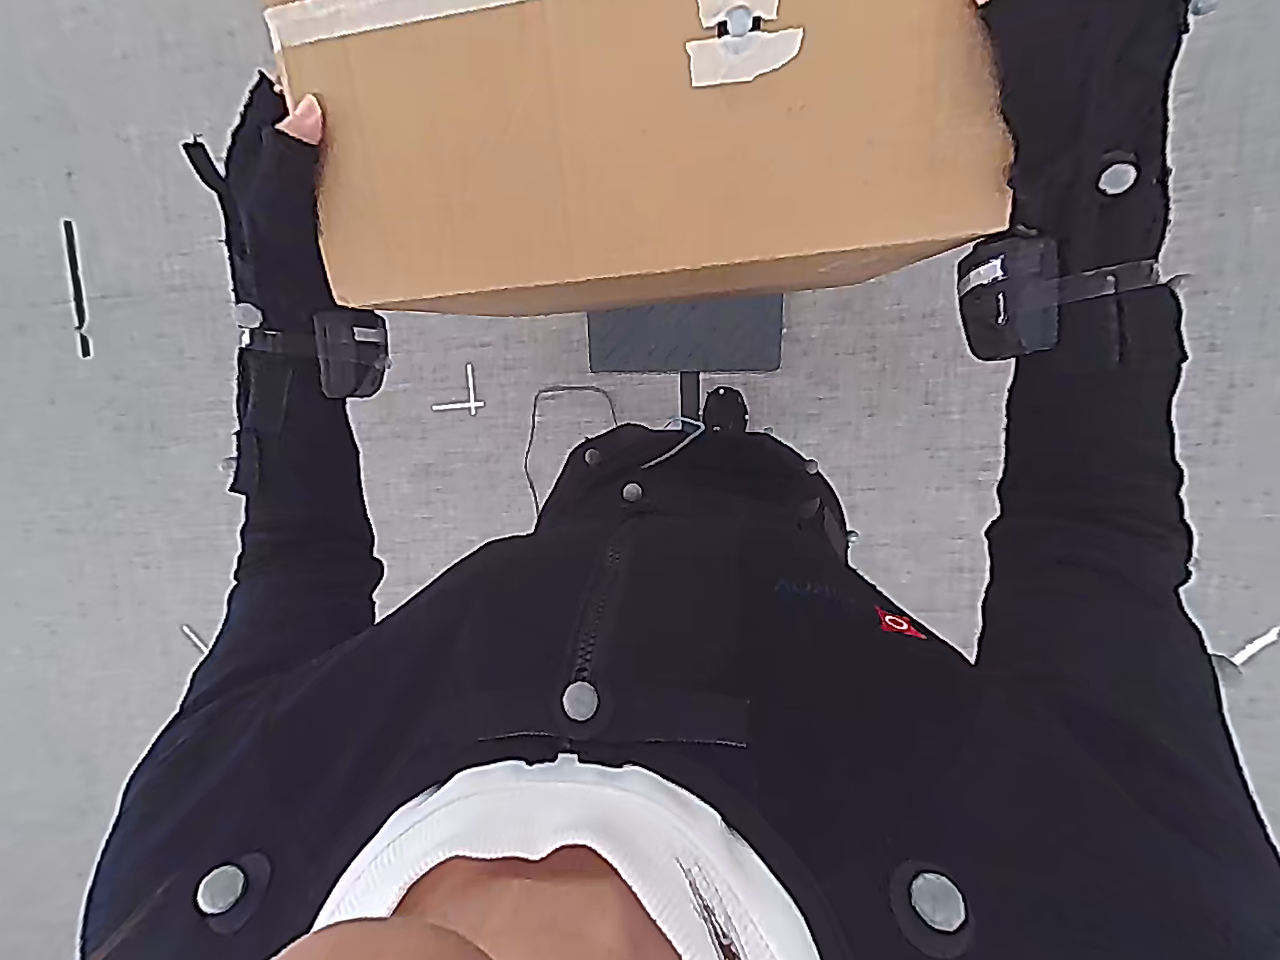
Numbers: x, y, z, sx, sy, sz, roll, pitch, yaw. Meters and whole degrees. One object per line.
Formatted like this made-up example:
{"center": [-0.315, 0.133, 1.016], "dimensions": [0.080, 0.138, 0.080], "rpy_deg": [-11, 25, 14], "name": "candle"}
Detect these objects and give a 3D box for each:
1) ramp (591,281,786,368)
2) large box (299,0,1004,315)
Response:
{"center": [0.103, -0.768, 1.251], "dimensions": [0.509, 0.206, 0.991], "rpy_deg": [-1, 98, 8], "name": "ramp"}
{"center": [0.009, -0.322, 0.443], "dimensions": [0.408, 0.320, 0.320], "rpy_deg": [-3, 105, 9], "name": "large box"}
